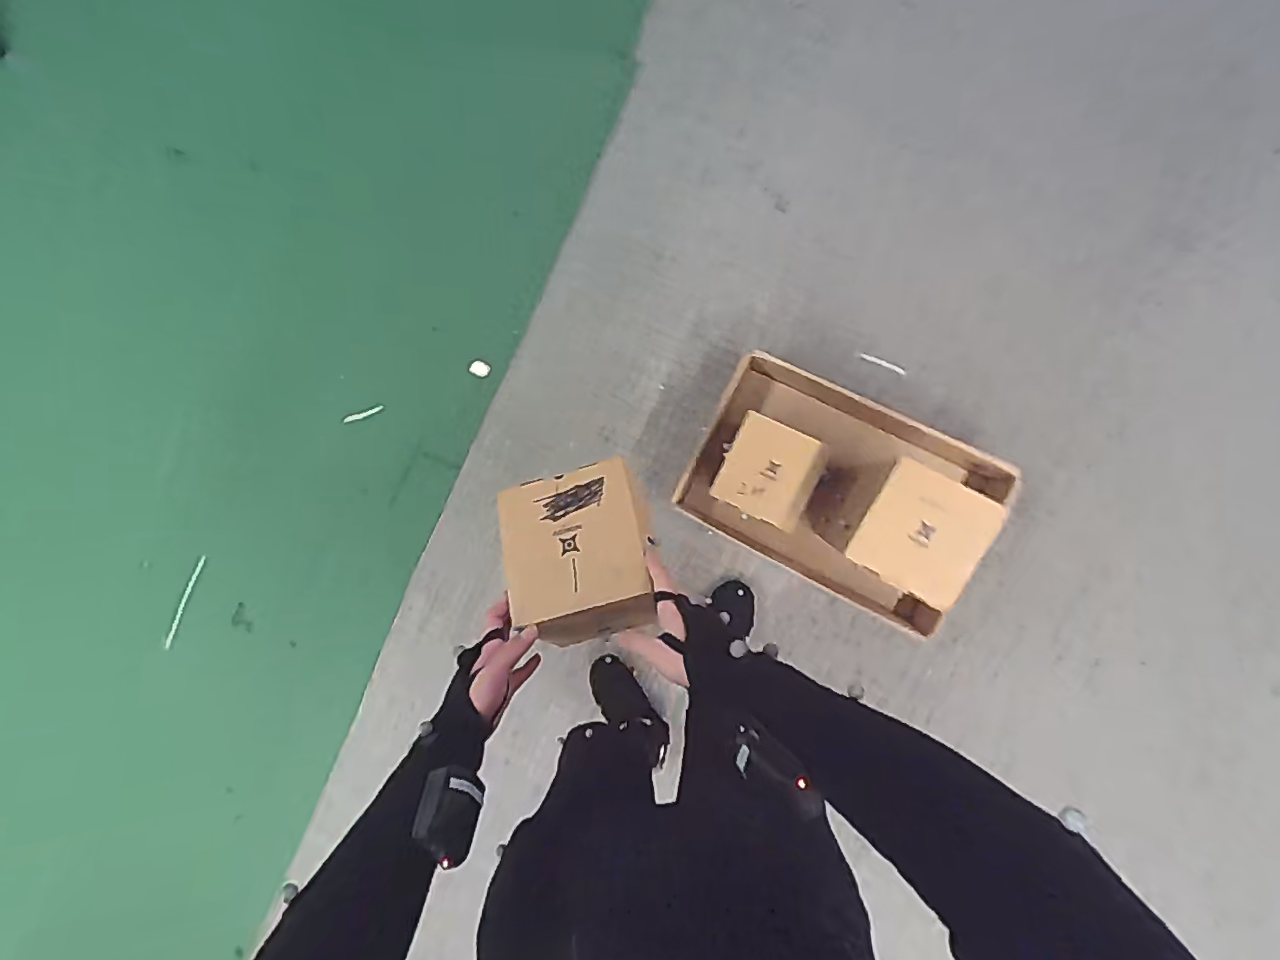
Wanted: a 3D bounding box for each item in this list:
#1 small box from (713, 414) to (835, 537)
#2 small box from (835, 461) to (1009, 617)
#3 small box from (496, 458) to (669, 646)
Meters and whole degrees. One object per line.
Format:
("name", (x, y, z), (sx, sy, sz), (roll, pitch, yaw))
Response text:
("small box", (0.252, -0.007, 1.060), (0.168, 0.176, 0.179), (27, 94, 9))
("small box", (0.432, 0.087, 0.866), (0.168, 0.176, 0.179), (31, 95, 11))
("small box", (-0.069, 0.101, 0.697), (0.168, 0.176, 0.179), (-16, 64, 5))
